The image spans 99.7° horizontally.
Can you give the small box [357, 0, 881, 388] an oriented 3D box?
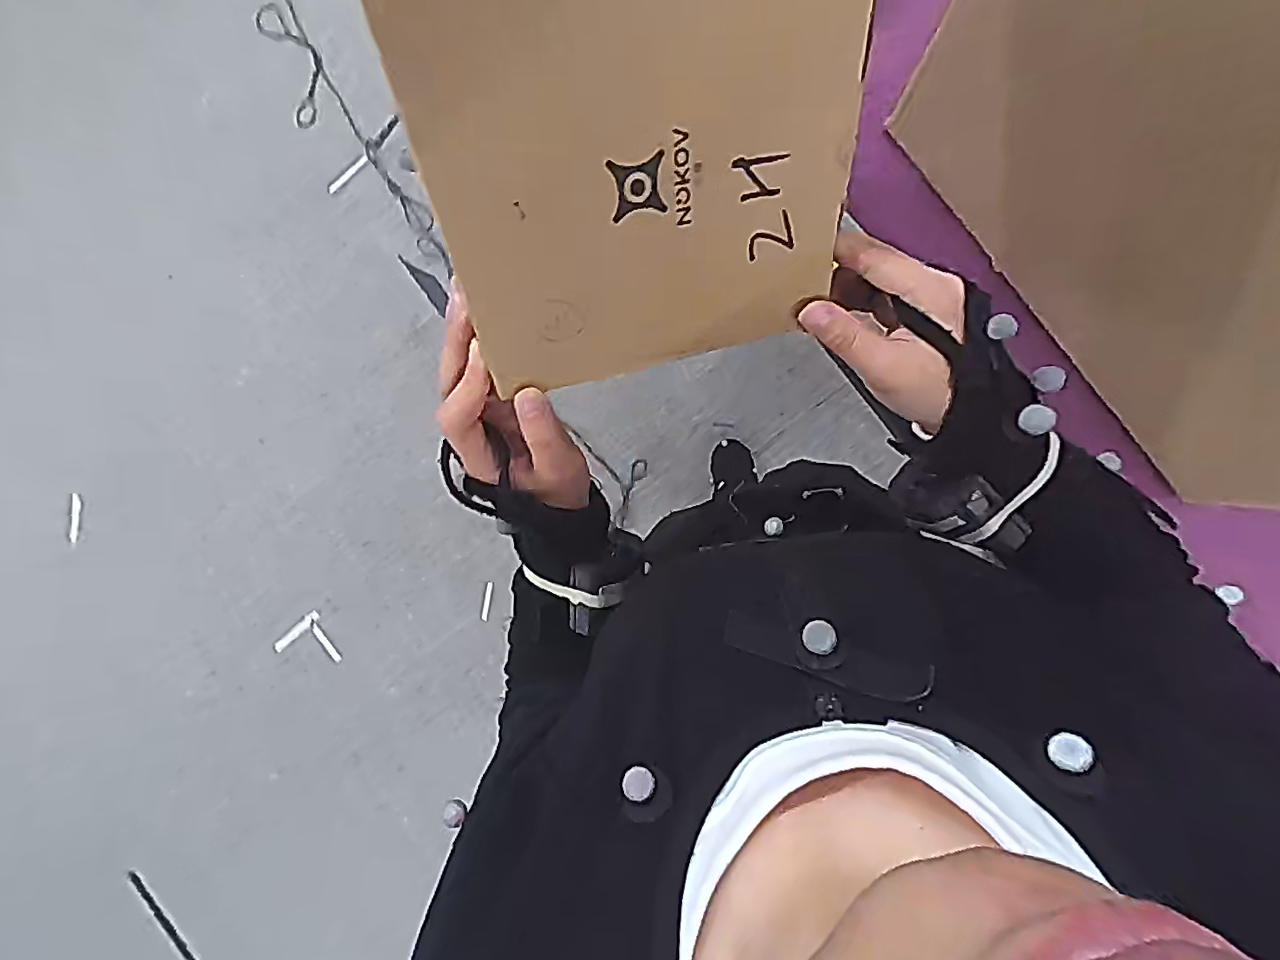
[{"bbox_3d":[-0.015,-0.174,0.266,0.179,0.168,0.176,-15,48,-8],"label":"small box"}]
